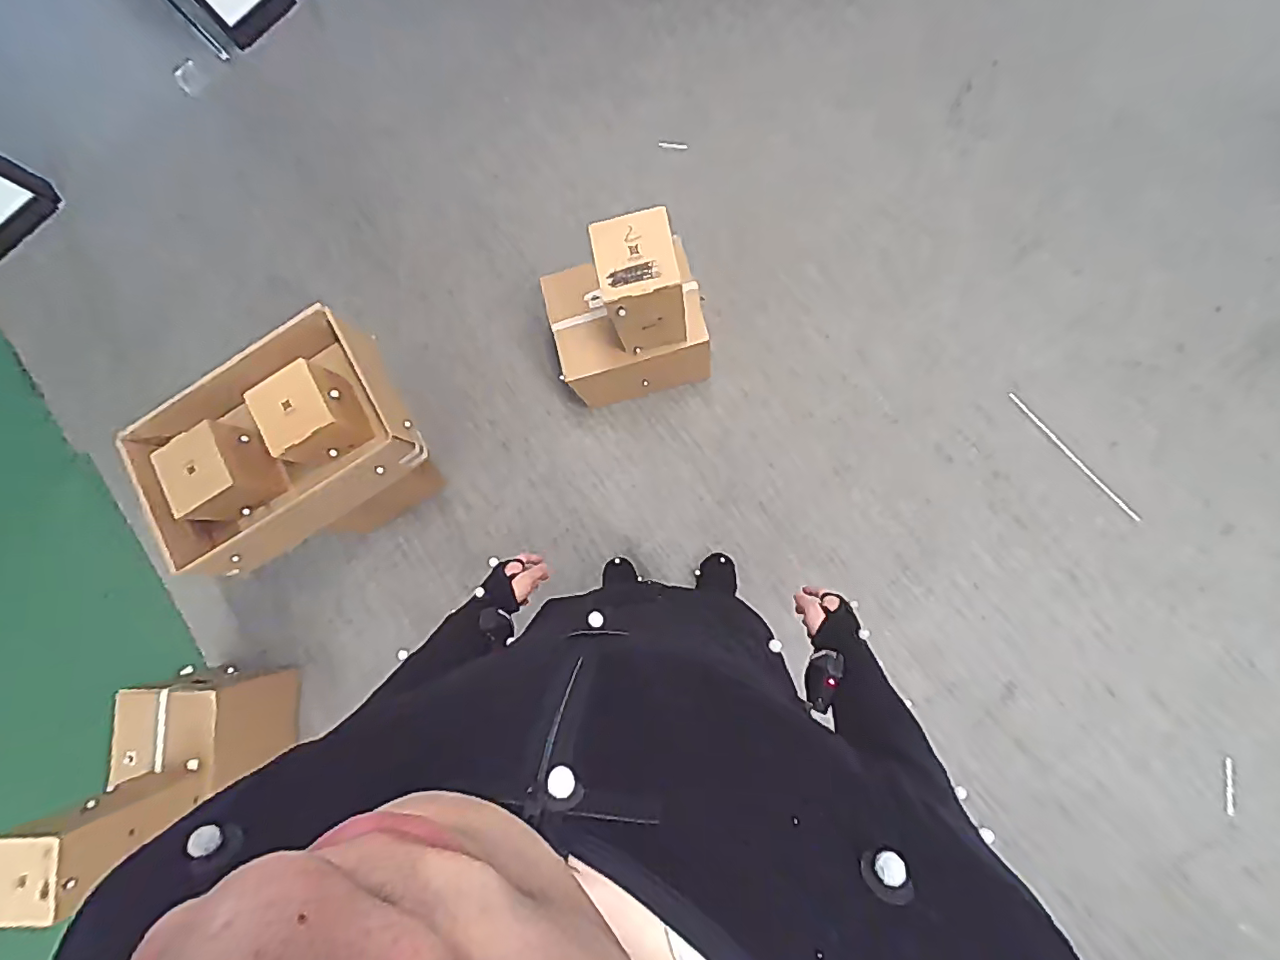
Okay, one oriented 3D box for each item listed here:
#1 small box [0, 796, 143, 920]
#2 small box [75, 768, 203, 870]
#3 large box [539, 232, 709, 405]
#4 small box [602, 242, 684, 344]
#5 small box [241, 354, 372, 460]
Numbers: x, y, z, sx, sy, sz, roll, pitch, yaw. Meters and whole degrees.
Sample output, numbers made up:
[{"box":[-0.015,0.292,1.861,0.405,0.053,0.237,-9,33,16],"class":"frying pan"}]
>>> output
[{"box":[-1.245,0.810,1.173,0.179,0.176,0.168,-4,83,6],"class":"small box"},{"box":[-1.237,0.830,1.336,0.179,0.176,0.168,-4,83,5],"class":"small box"},{"box":[-0.032,-0.450,1.590,0.408,0.320,0.320,-16,82,6],"class":"large box"},{"box":[0.013,-0.449,1.335,0.168,0.176,0.179,-12,83,5],"class":"small box"},{"box":[-0.787,-0.165,1.292,0.168,0.176,0.179,-31,82,2],"class":"small box"}]
